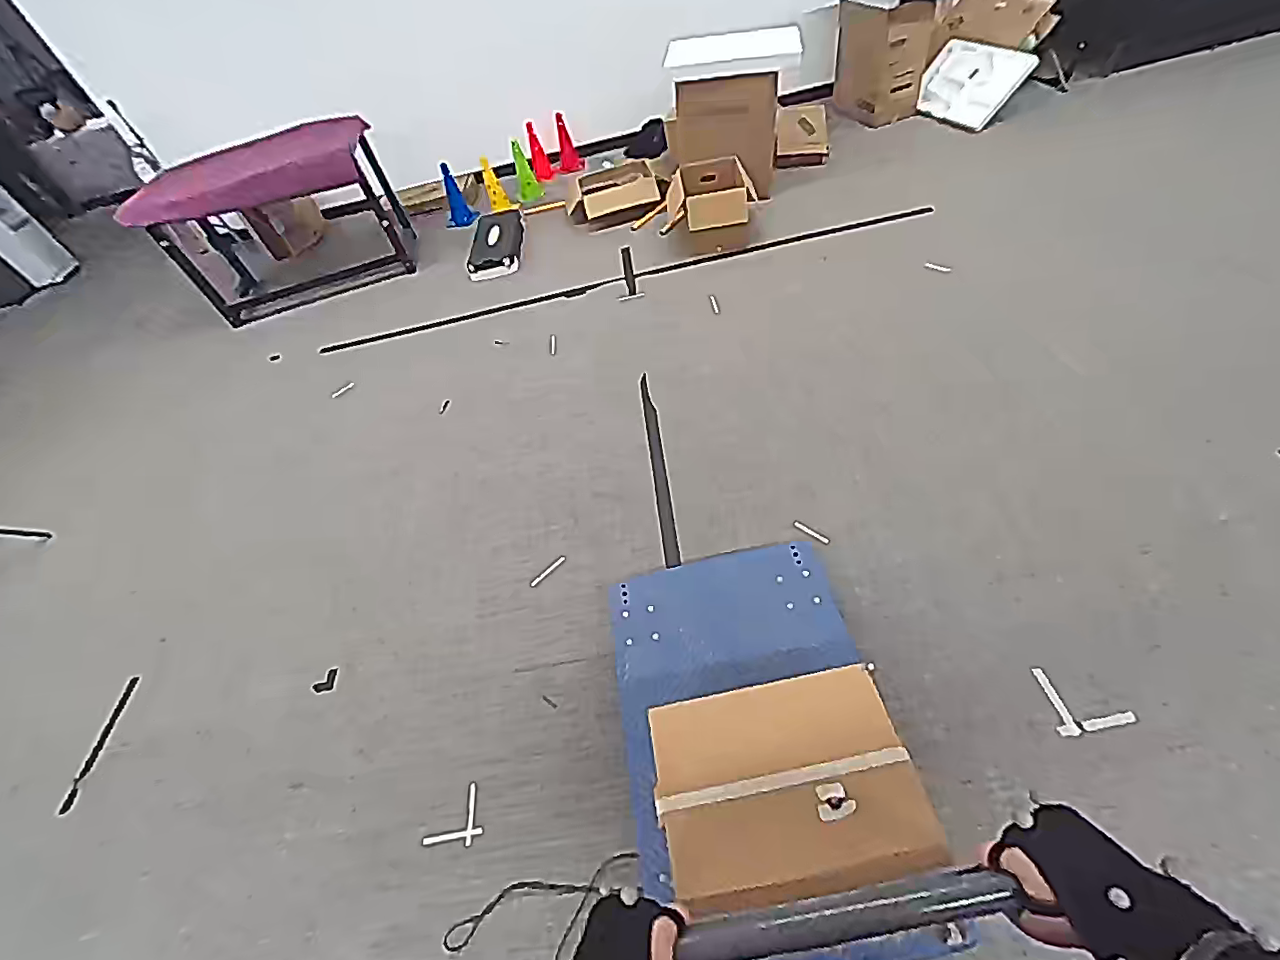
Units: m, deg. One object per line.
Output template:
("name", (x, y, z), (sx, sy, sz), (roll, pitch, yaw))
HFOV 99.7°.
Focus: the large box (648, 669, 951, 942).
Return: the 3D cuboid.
("large box", (0.251, 0.592, 0.977), (0.408, 0.320, 0.320), (-12, 47, 1))
